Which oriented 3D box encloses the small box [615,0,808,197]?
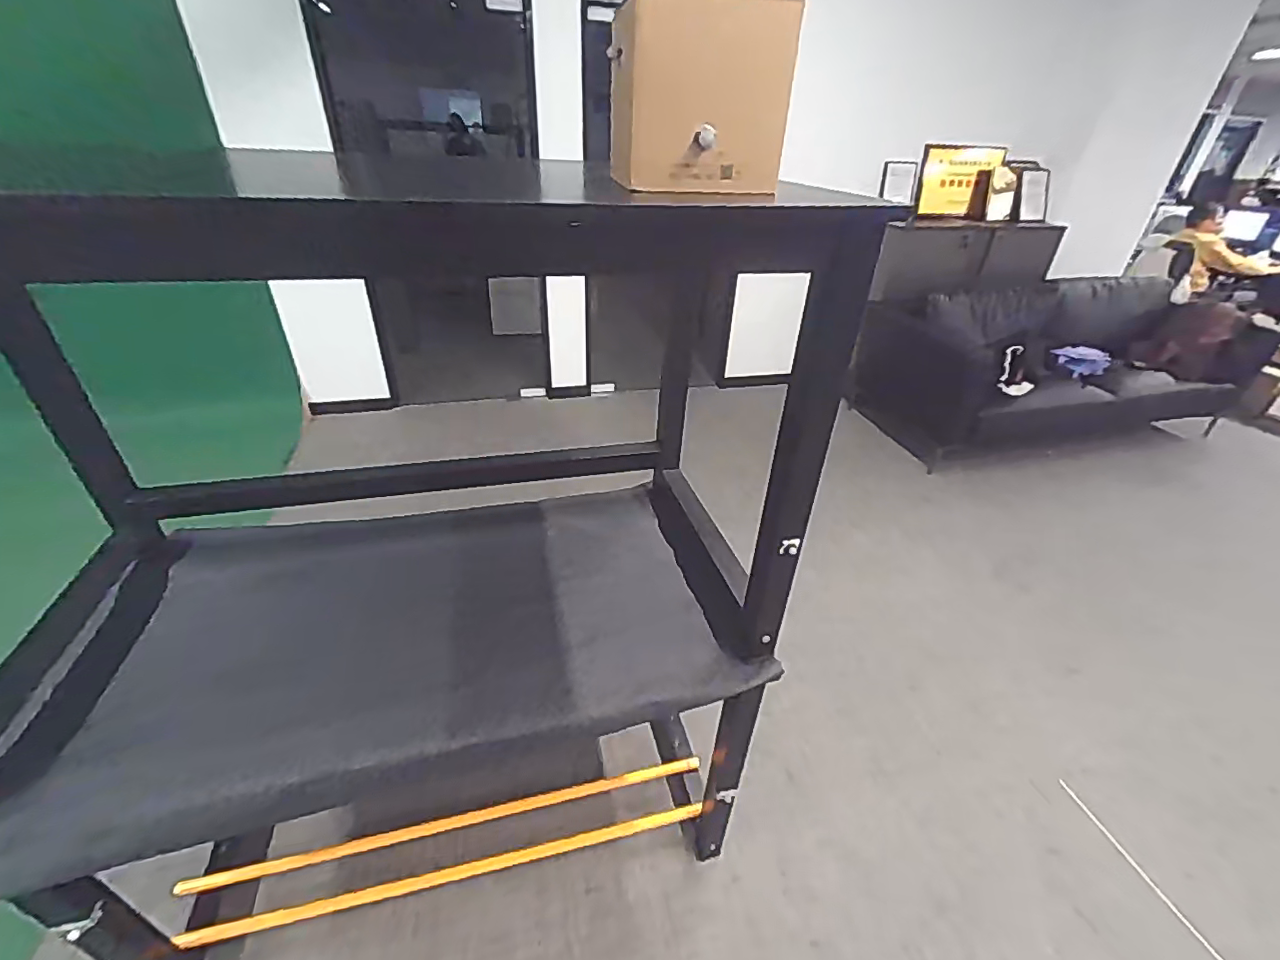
[{"bbox_3d":[0.063,-0.426,0.609,0.168,0.176,0.179,-4,34,-9],"label":"small box"}]
